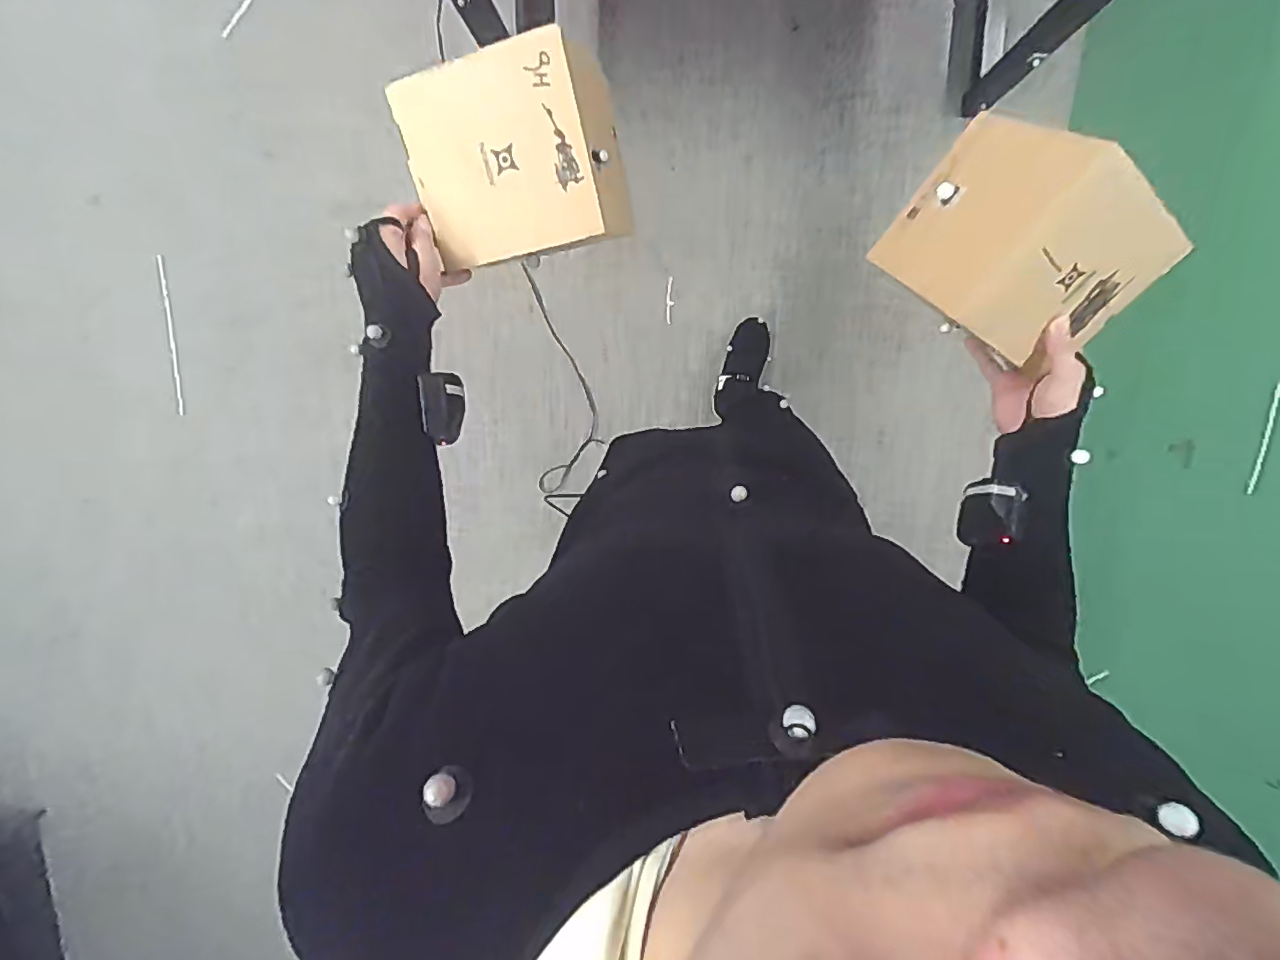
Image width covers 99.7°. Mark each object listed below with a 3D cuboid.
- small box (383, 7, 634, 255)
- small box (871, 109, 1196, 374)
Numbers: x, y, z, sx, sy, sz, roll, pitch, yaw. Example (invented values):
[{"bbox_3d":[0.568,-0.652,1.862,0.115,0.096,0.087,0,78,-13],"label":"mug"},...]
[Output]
[{"bbox_3d":[-0.120,-0.338,0.565,0.179,0.176,0.168,-6,112,15],"label":"small box"},{"bbox_3d":[0.383,-0.245,0.554,0.179,0.176,0.168,19,123,-28],"label":"small box"}]
